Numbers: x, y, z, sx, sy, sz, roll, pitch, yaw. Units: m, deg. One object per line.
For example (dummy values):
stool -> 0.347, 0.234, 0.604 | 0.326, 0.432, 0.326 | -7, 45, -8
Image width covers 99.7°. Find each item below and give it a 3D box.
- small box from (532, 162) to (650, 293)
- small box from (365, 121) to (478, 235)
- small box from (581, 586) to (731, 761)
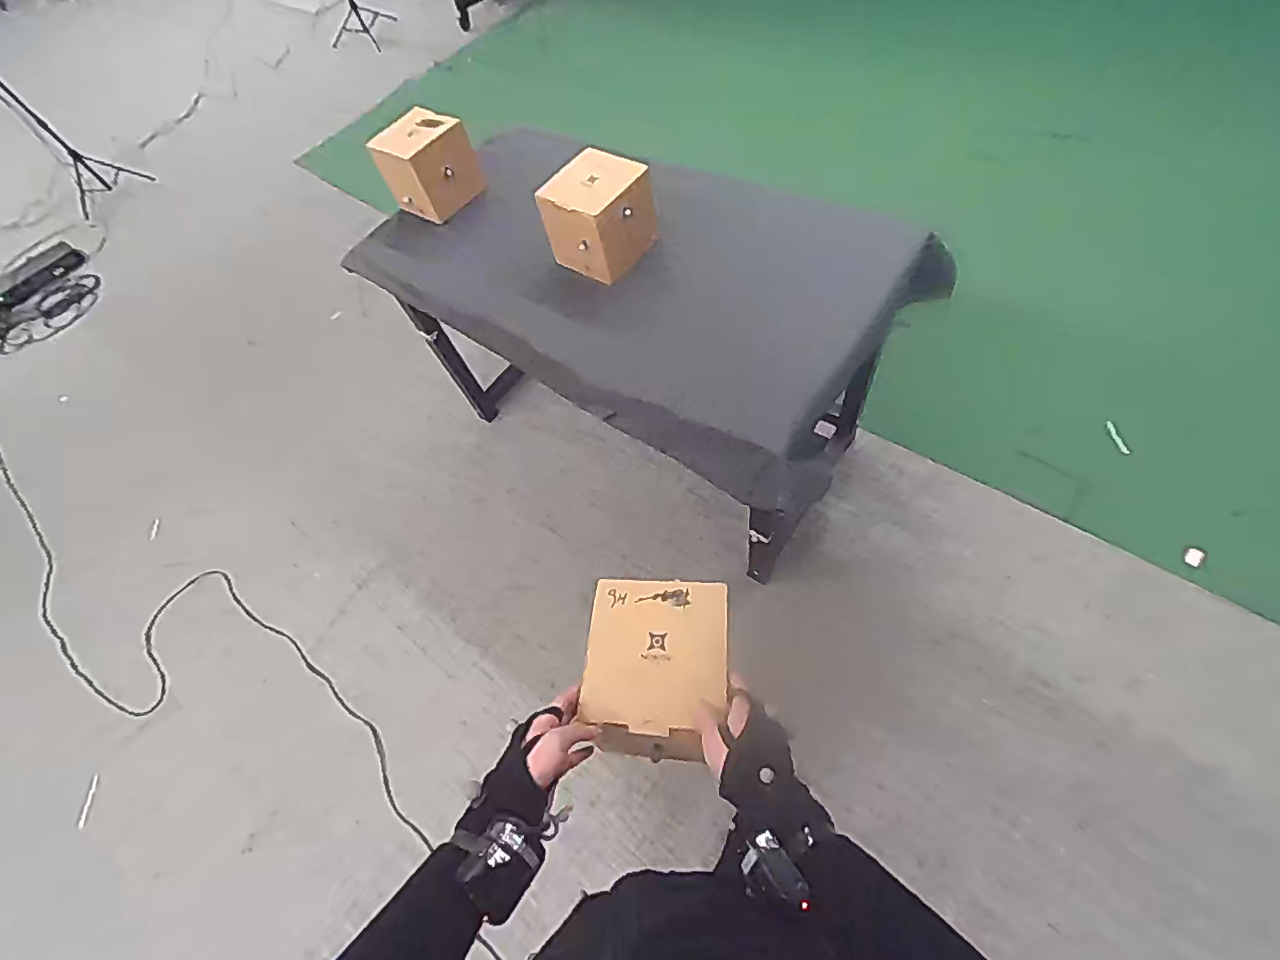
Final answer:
small box -> -0.094, -0.534, 1.155 | 0.168, 0.176, 0.179 | 31, 69, 23
small box -> -0.534, -0.755, 1.356 | 0.168, 0.176, 0.179 | 29, 69, 23
small box -> 0.033, 0.253, 0.699 | 0.168, 0.176, 0.179 | 0, 54, 9
